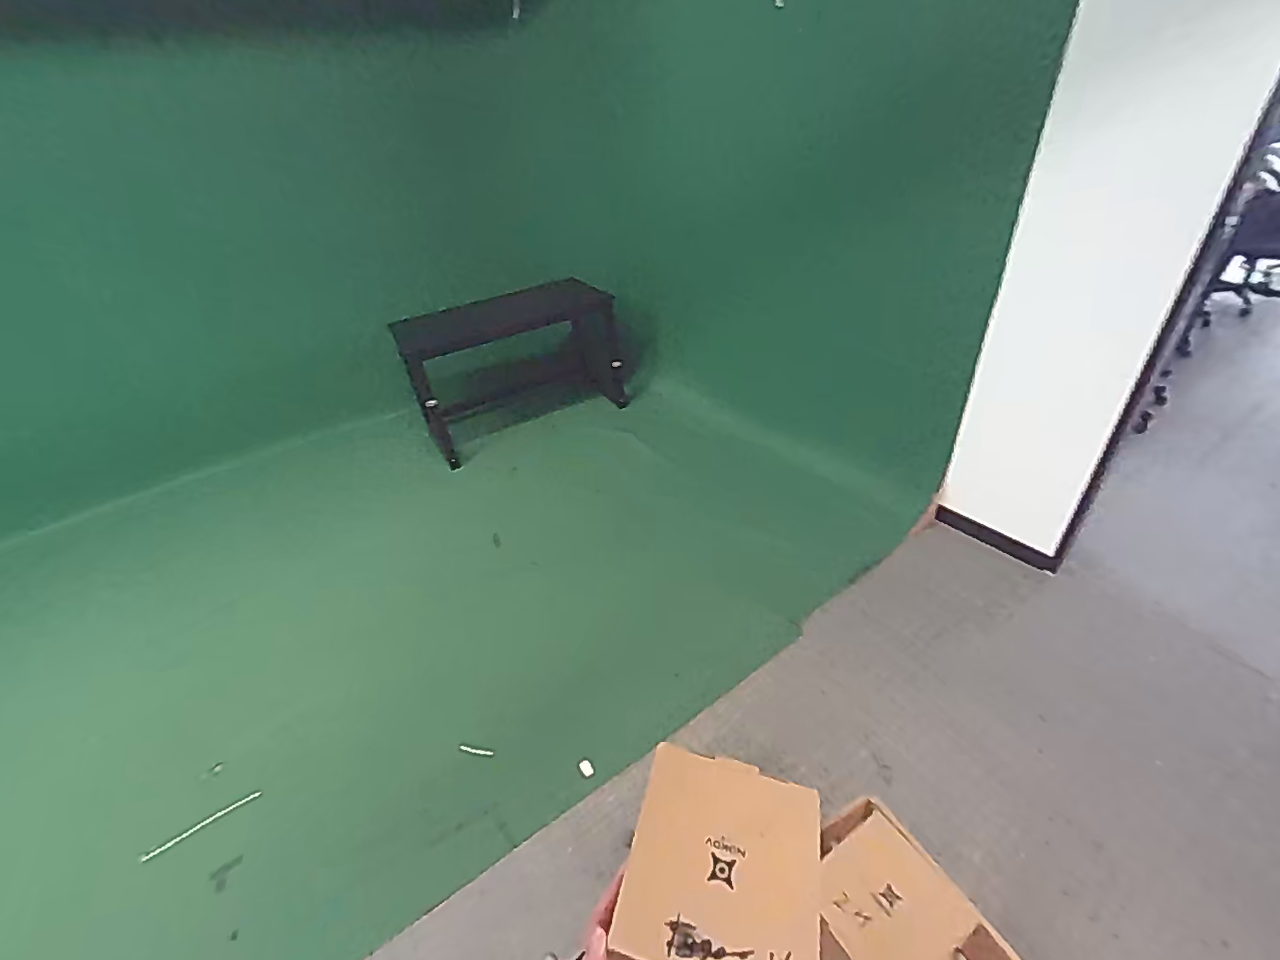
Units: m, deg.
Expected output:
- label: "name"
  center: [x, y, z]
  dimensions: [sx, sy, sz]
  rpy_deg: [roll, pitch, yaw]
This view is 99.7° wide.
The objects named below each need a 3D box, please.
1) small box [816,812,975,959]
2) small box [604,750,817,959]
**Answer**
- label: "small box"
  center: [0.345, 0.647, 0.800]
  dimensions: [0.179, 0.176, 0.168]
  rpy_deg: [-24, 40, -22]
- label: "small box"
  center: [0.065, 0.407, 0.523]
  dimensions: [0.168, 0.176, 0.179]
  rpy_deg: [13, 37, 9]
